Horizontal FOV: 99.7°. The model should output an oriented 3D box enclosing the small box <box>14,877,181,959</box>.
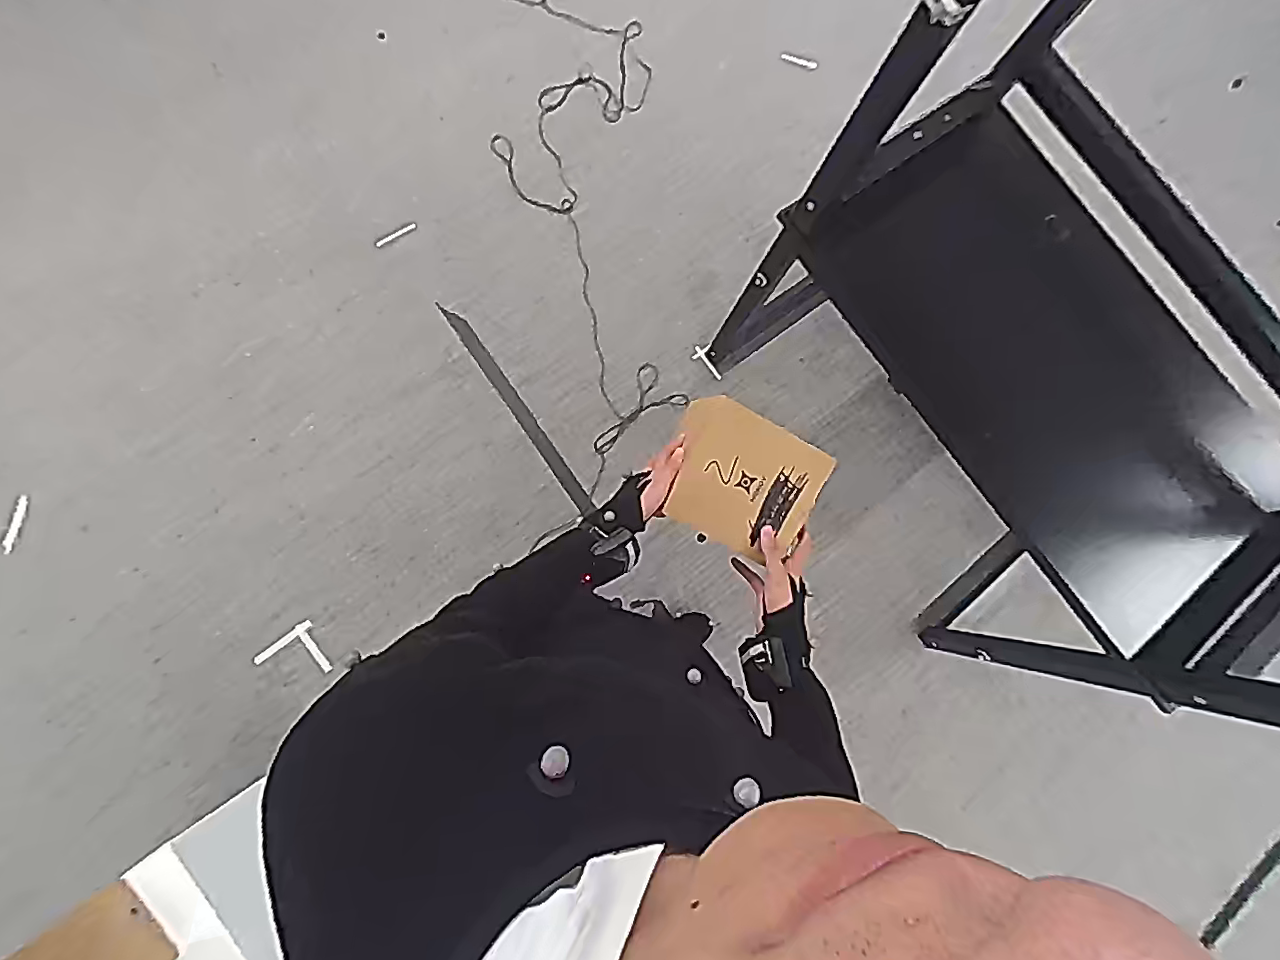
[{"bbox_3d":[-0.858,0.758,0.803,0.179,0.176,0.168,-39,89,-10],"label":"small box"}]
